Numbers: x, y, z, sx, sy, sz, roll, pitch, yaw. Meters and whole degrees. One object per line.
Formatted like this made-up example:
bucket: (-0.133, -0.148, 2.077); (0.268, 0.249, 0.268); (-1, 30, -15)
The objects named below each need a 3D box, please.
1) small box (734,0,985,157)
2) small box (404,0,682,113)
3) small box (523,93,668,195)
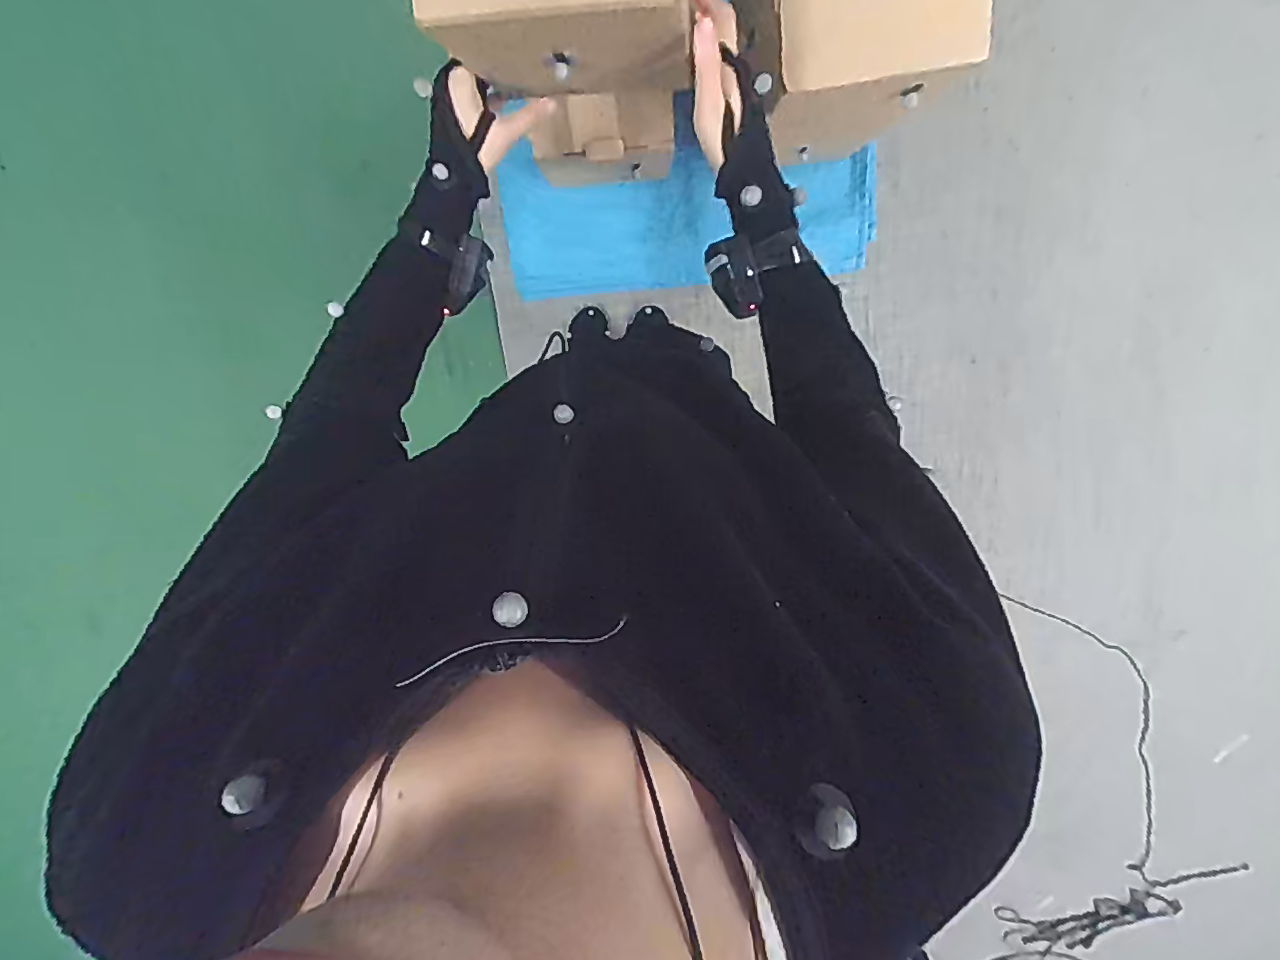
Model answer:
small box: (0.193, -0.428, 0.514); (0.179, 0.176, 0.168); (-6, 106, 3)
small box: (-0.058, -0.391, 0.396); (0.179, 0.176, 0.168); (2, 108, 8)
small box: (-0.053, -0.468, 0.675); (0.168, 0.176, 0.179); (-4, 106, 0)
